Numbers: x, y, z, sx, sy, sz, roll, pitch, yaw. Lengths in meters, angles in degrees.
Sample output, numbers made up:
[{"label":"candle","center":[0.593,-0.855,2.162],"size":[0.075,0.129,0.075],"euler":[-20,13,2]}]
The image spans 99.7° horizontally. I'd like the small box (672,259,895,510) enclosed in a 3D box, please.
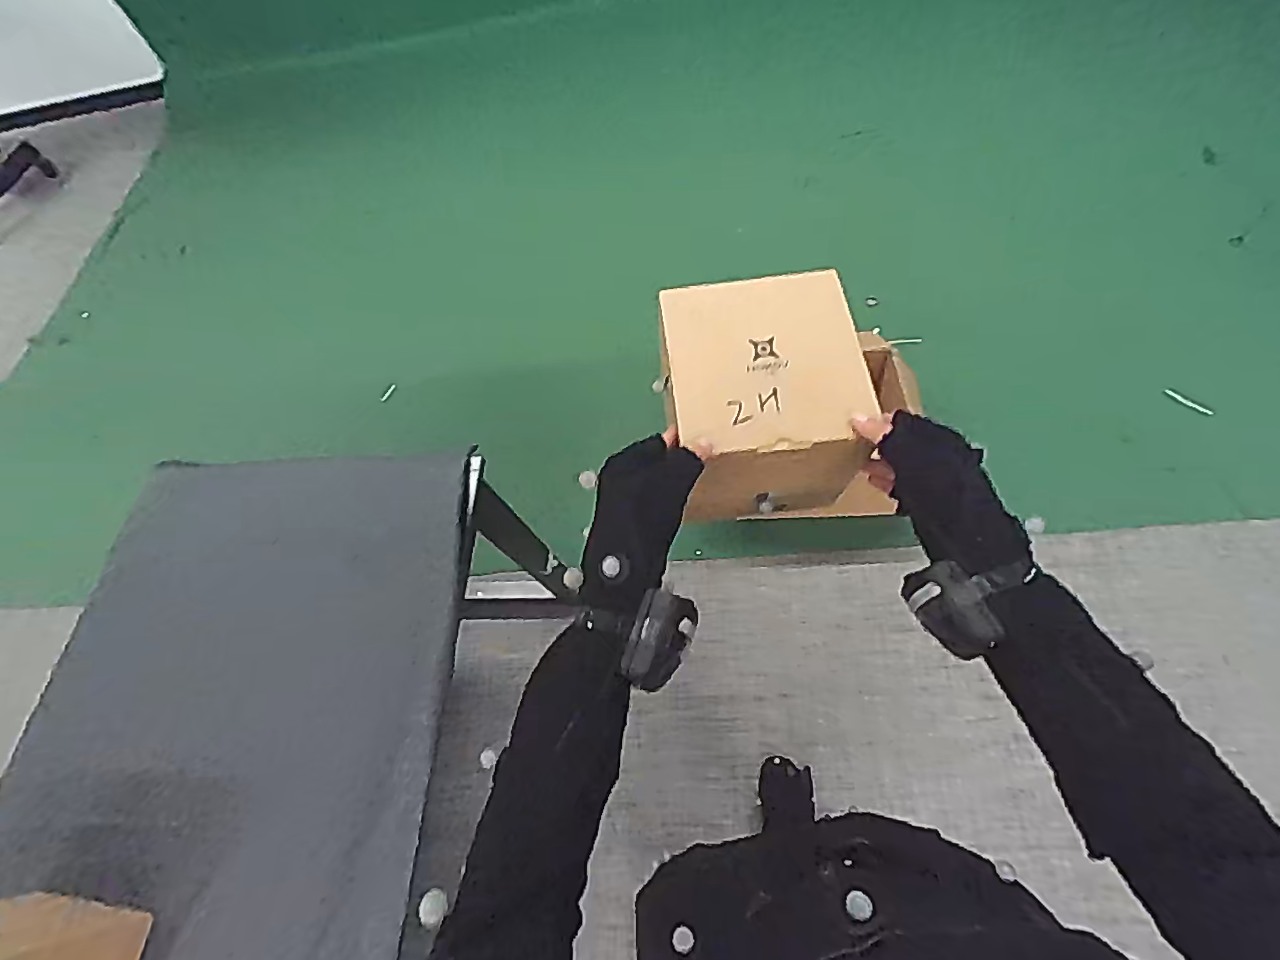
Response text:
[{"label":"small box","center":[0.120,-0.085,0.535],"size":[0.168,0.176,0.179],"euler":[-6,68,2]}]
